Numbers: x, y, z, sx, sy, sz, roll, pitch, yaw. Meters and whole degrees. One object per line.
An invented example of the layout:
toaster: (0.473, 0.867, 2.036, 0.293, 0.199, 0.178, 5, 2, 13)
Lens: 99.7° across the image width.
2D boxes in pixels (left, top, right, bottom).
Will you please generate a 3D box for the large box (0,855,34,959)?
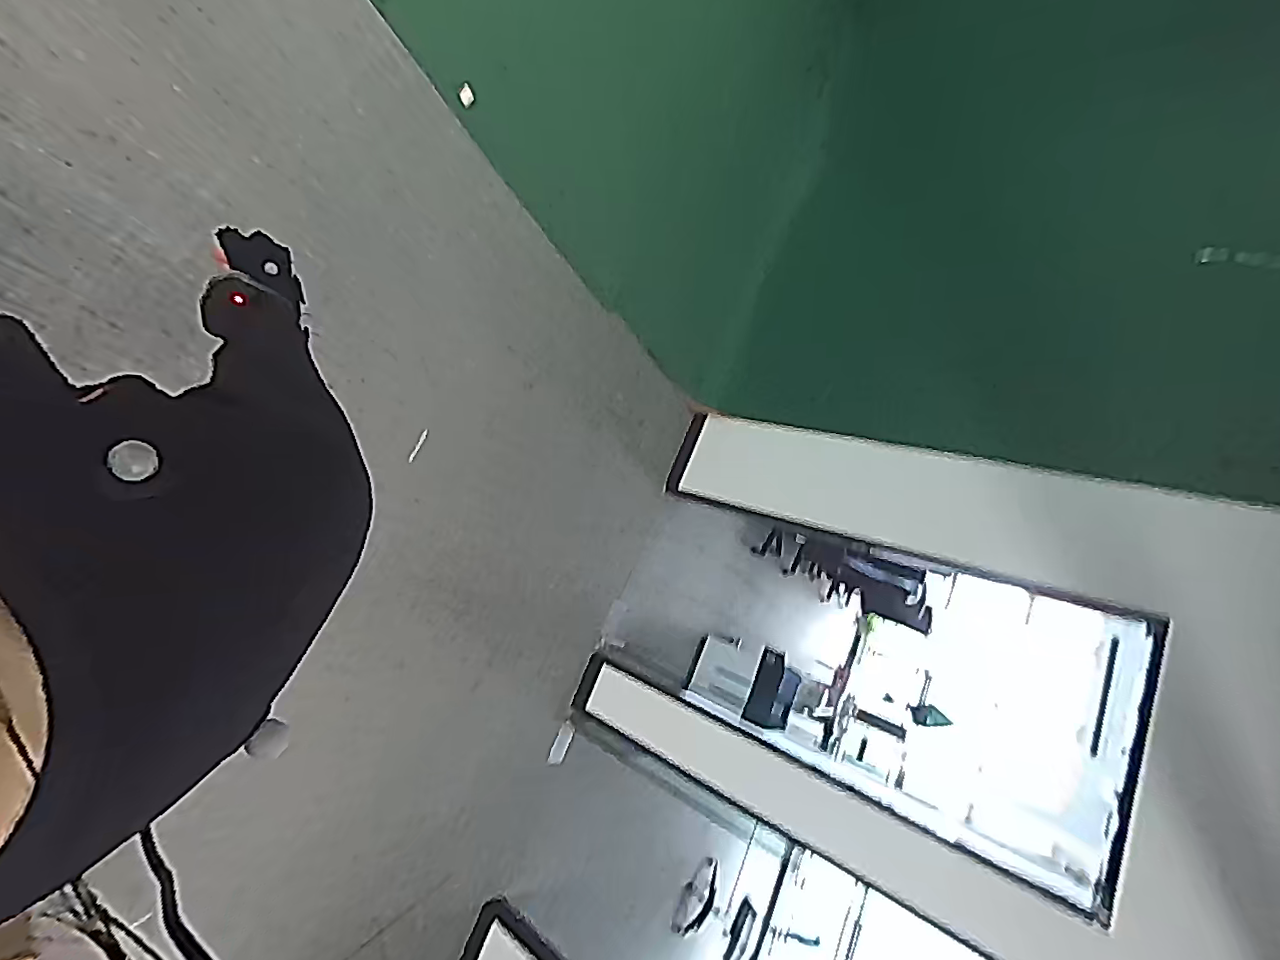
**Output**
large box: (-1.369, 0.872, 0.868, 0.408, 0.320, 0.320, 45, 67, -54)
